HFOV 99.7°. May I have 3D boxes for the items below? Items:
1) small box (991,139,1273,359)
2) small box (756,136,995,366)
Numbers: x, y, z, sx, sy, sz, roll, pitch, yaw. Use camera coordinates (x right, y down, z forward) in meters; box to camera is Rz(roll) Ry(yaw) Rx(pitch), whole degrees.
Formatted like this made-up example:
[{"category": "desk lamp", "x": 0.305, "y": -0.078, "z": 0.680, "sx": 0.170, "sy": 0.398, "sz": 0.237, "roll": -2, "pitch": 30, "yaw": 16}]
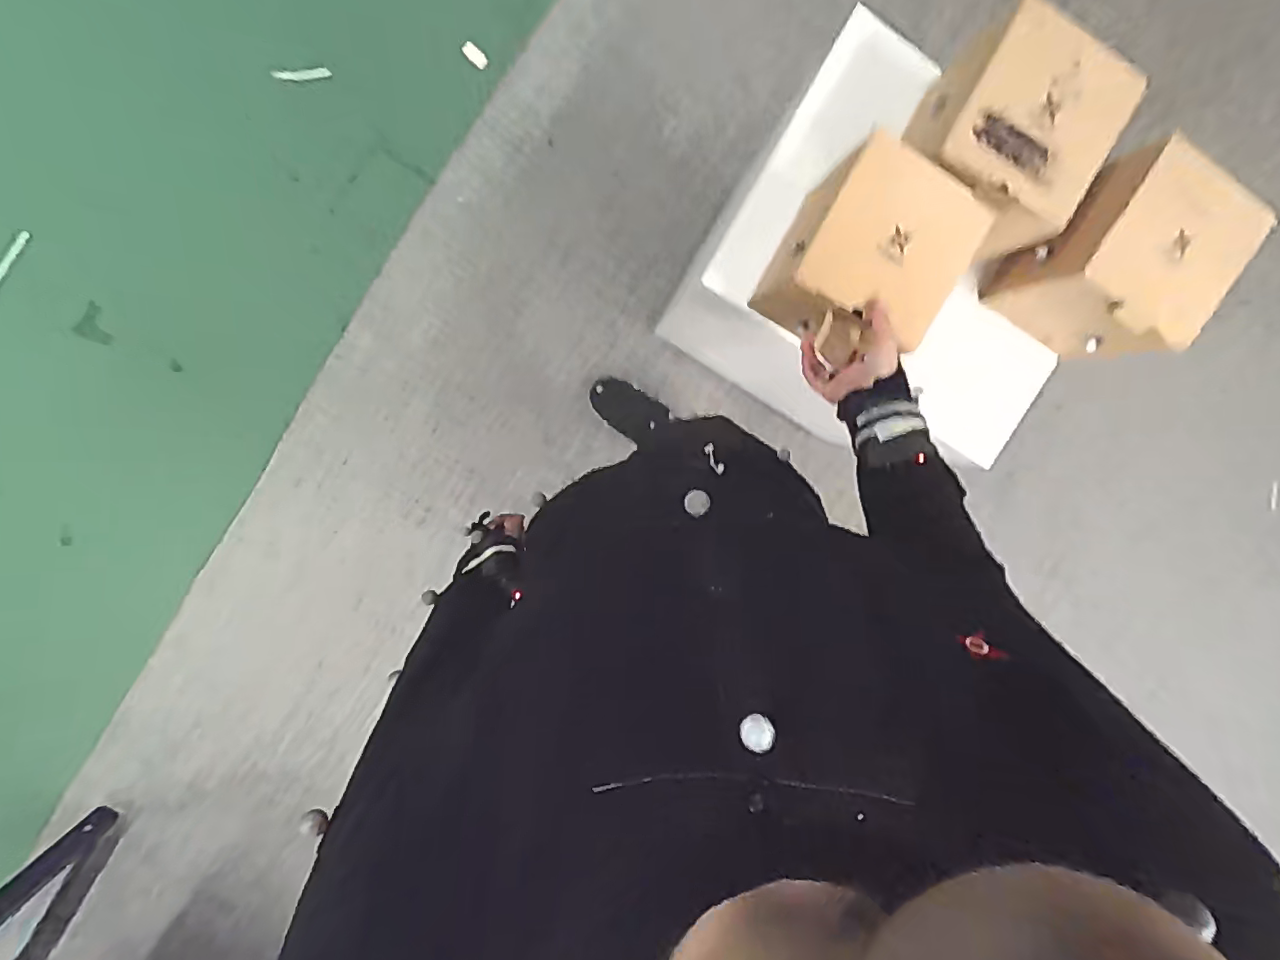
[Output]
[{"category": "small box", "x": 0.592, "y": -0.268, "z": 0.680, "sx": 0.168, "sy": 0.176, "sz": 0.179, "roll": 29, "pitch": 94, "yaw": -9}, {"category": "small box", "x": 0.264, "y": -0.255, "z": 0.653, "sx": 0.168, "sy": 0.176, "sz": 0.179, "roll": 28, "pitch": 94, "yaw": -9}]
